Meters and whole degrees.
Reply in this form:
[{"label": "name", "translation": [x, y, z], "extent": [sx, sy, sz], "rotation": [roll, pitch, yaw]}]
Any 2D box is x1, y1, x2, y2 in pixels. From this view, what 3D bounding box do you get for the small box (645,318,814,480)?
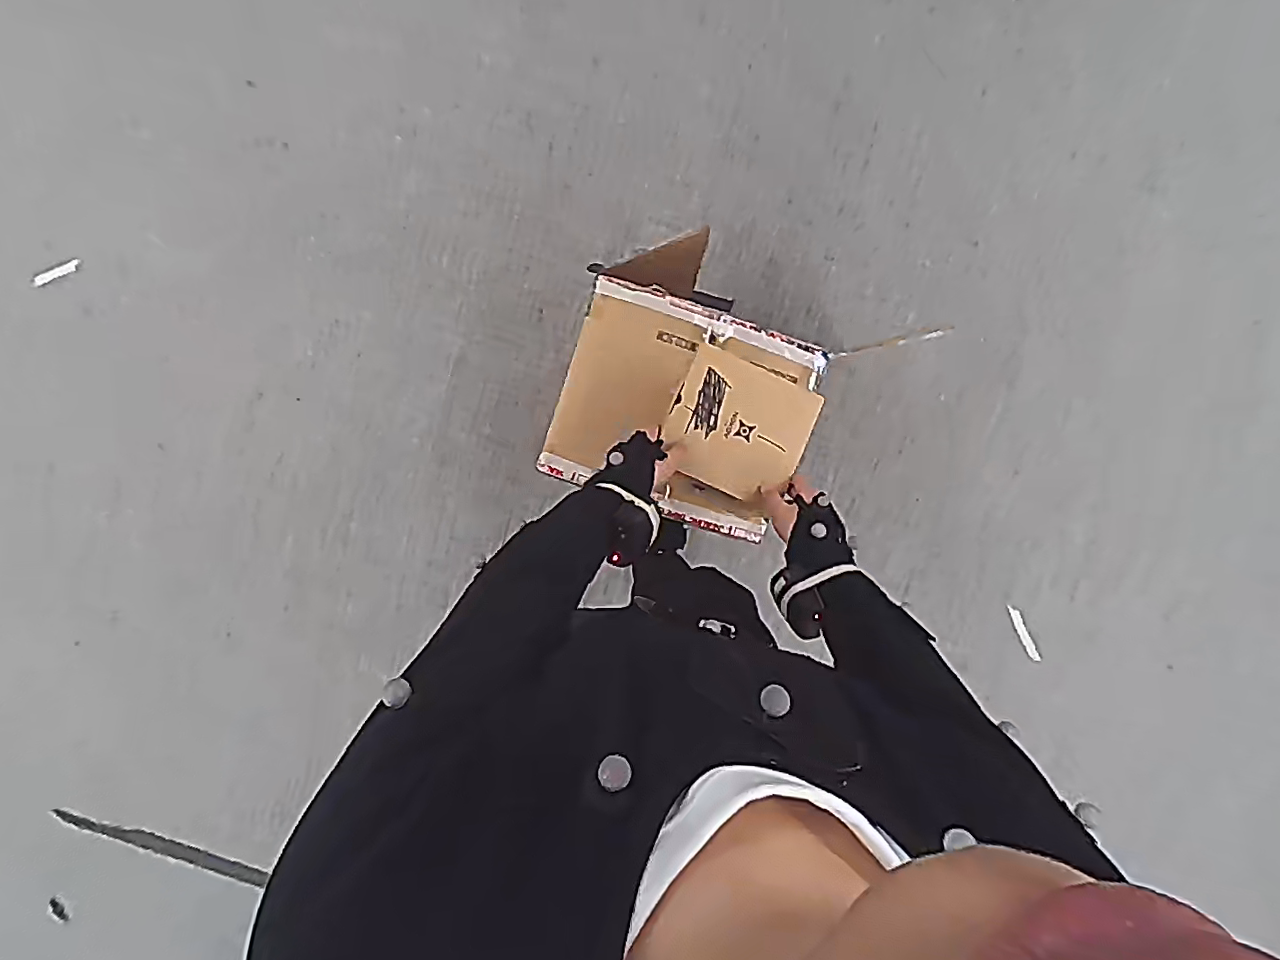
[{"label": "small box", "translation": [0.110, -0.110, 0.745], "extent": [0.179, 0.176, 0.168], "rotation": [14, 100, -2]}]
